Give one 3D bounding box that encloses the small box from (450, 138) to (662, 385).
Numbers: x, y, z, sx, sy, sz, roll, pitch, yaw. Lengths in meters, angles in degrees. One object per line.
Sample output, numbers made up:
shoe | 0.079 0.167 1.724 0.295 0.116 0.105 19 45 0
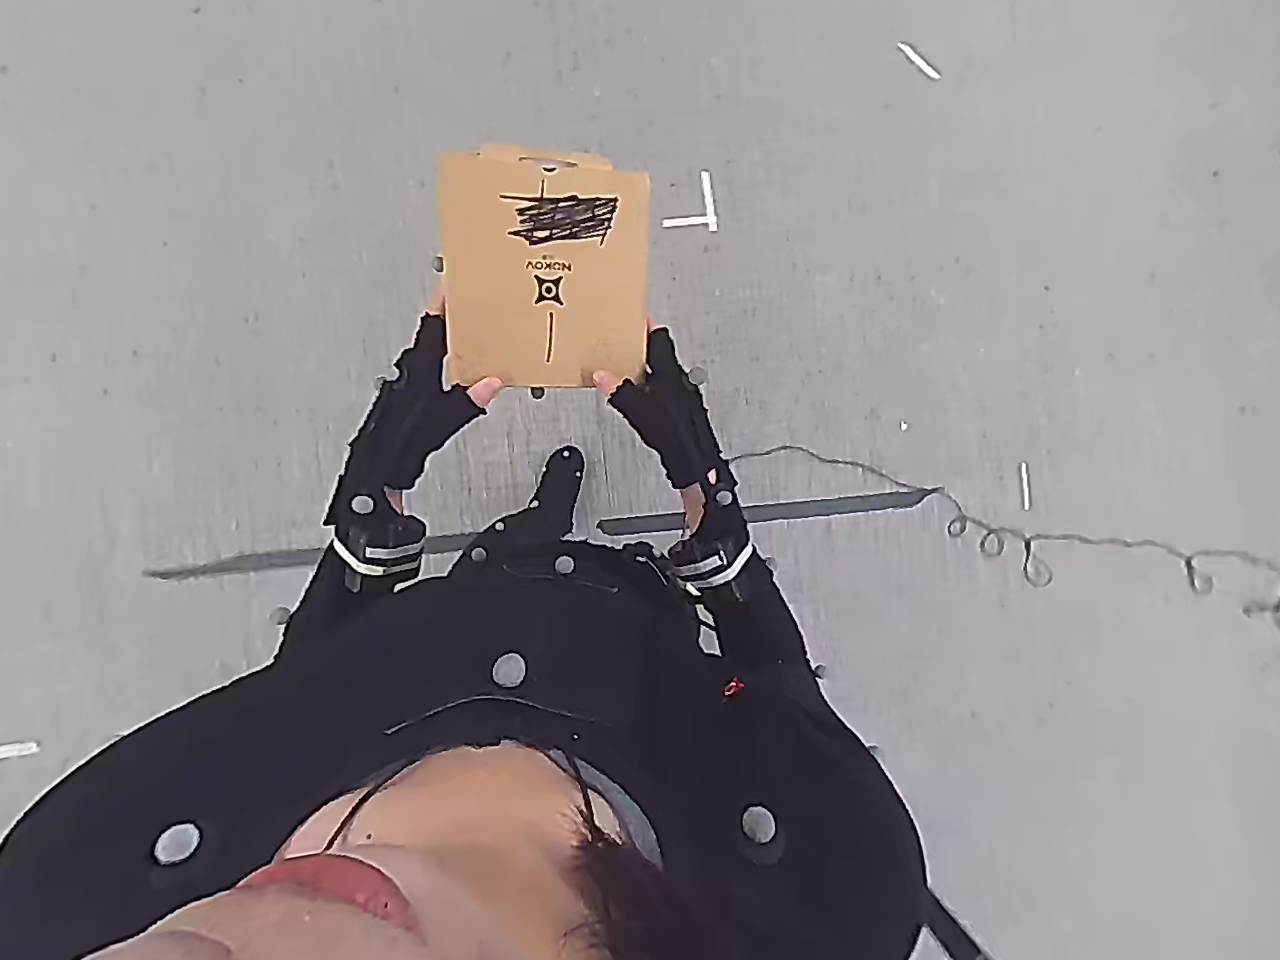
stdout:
small box | -0.084 -0.184 0.506 0.168 0.176 0.179 -1 104 -13
